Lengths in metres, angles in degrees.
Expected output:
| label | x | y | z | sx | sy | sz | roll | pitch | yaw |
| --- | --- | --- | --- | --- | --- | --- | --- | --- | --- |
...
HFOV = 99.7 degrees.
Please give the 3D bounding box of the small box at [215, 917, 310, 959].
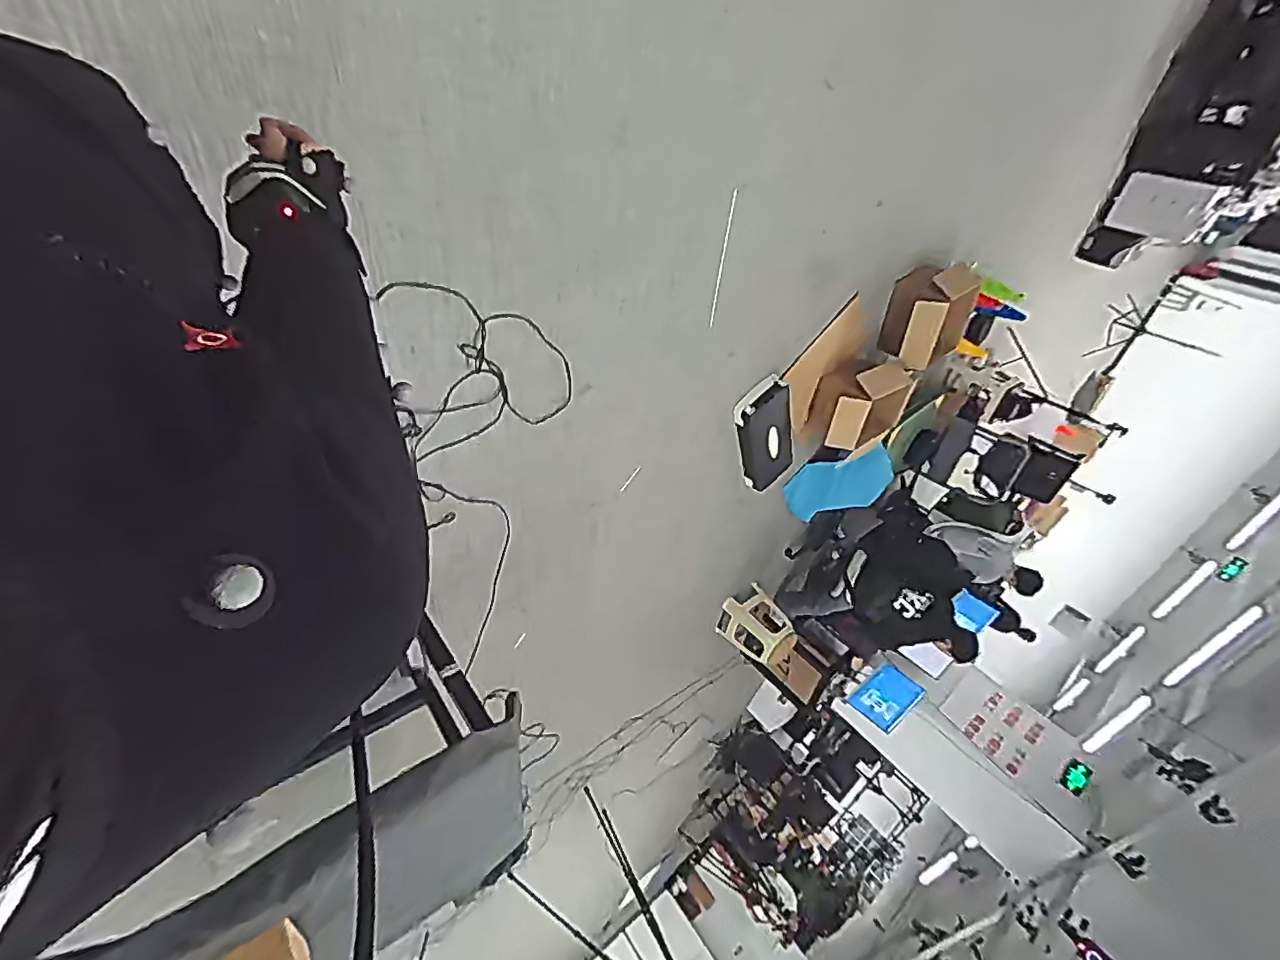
| label | x | y | z | sx | sy | sz | roll | pitch | yaw |
| --- | --- | --- | --- | --- | --- | --- | --- | --- | --- |
| small box | -0.744 | 1.009 | 1.051 | 0.179 | 0.176 | 0.168 | -21 | 137 | -34 |
